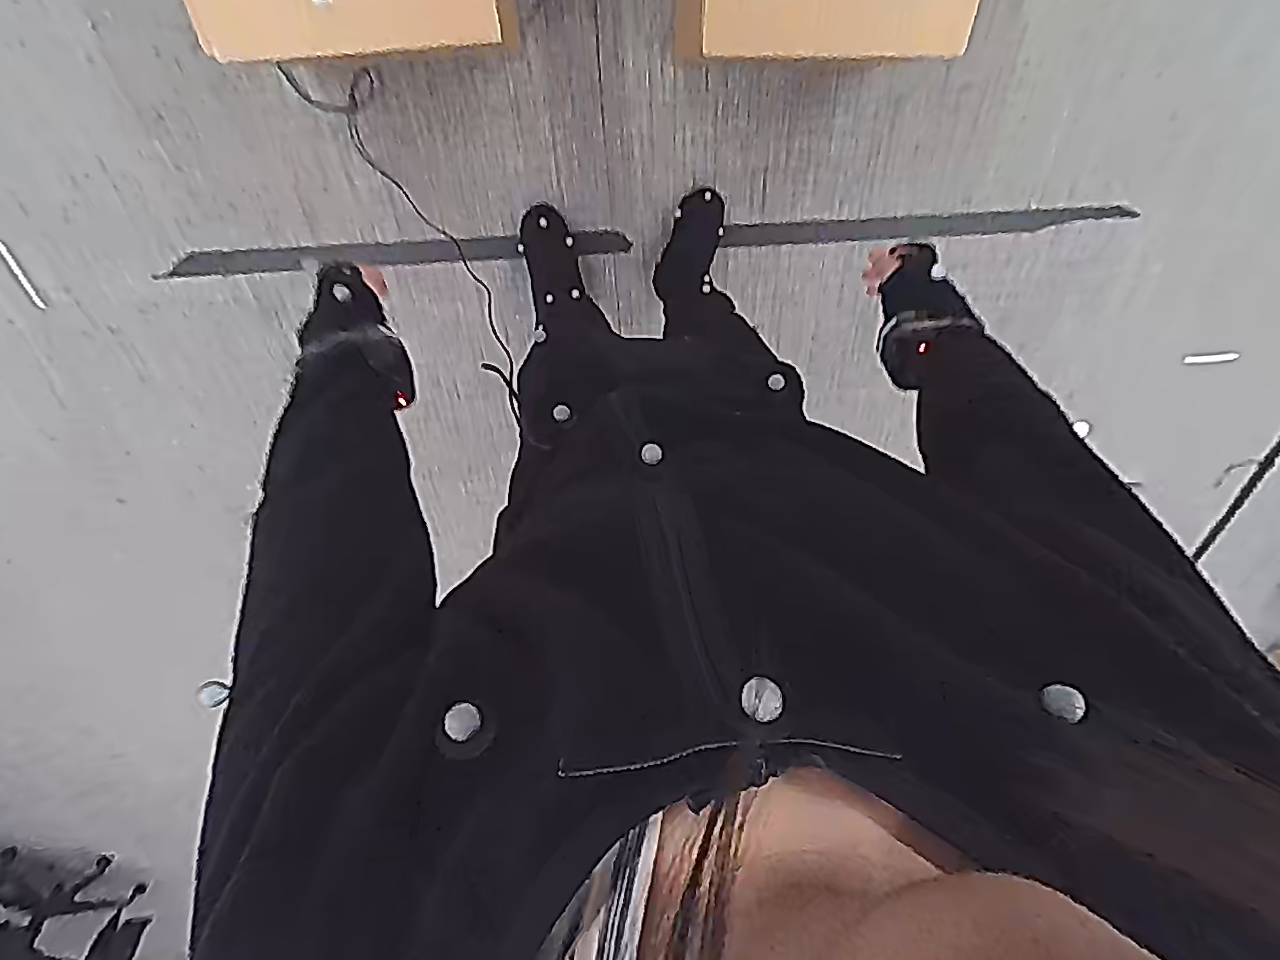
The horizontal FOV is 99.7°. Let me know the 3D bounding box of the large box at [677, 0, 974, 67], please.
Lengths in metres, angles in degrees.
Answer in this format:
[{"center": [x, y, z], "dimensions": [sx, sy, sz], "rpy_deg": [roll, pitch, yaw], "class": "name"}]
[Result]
[{"center": [0.277, -0.851, 0.845], "dimensions": [0.408, 0.320, 0.320], "rpy_deg": [-3, 126, -5], "class": "large box"}]
